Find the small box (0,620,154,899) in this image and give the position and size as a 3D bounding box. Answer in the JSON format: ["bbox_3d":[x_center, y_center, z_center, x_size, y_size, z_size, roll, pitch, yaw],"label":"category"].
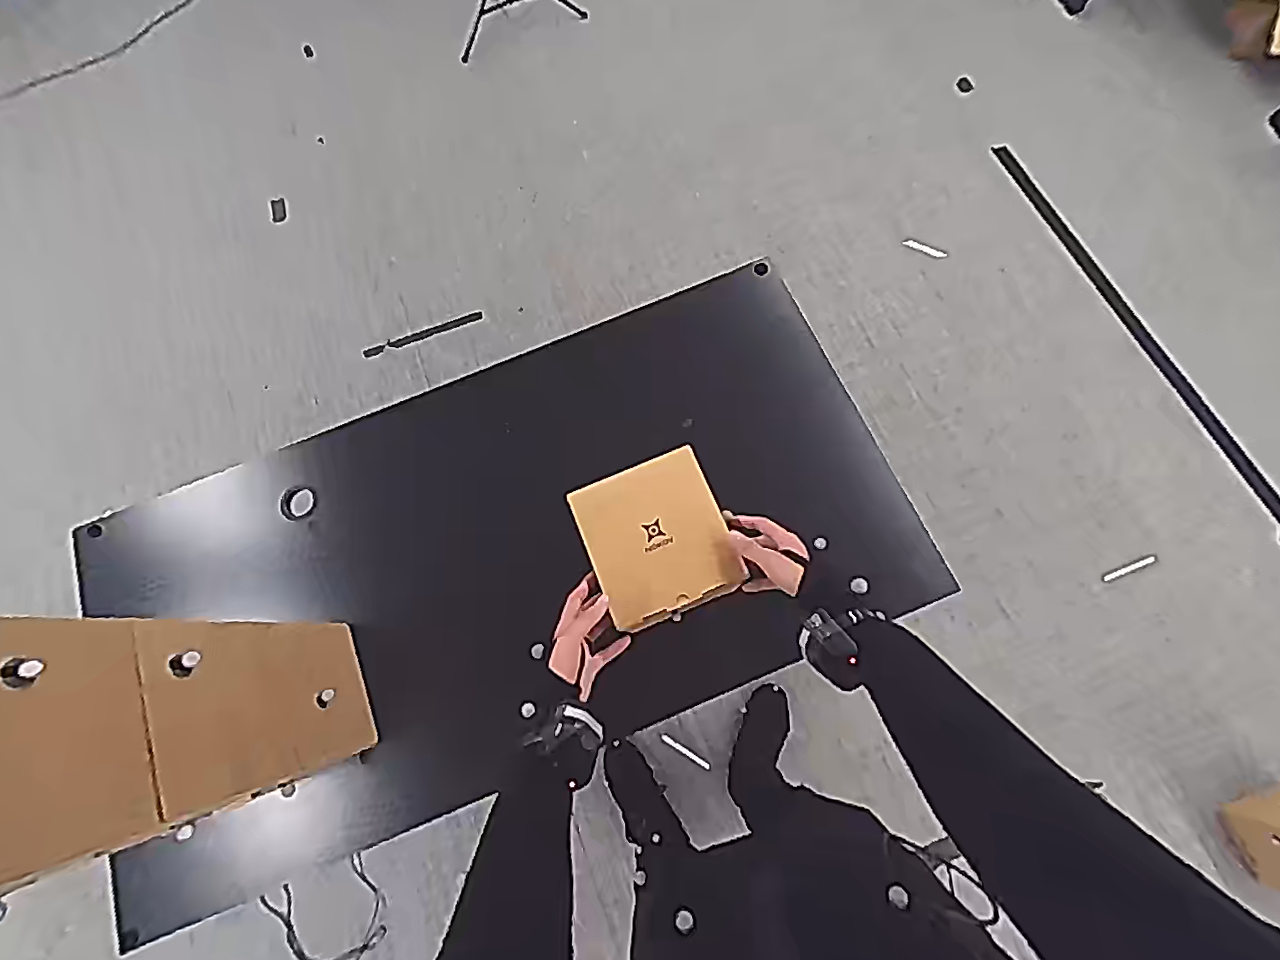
[{"bbox_3d":[-0.487,0.204,0.364,0.168,0.176,0.179,-24,75,-2],"label":"small box"}]

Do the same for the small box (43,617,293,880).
[{"bbox_3d":[-0.478,0.248,0.520,0.168,0.176,0.179,-24,74,-3],"label":"small box"}]

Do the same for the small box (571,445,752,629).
[{"bbox_3d":[0.025,0.084,0.707,0.168,0.176,0.179,-23,74,-3],"label":"small box"}]

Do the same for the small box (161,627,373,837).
[{"bbox_3d":[-0.468,0.295,0.678,0.168,0.176,0.179,-24,75,-4],"label":"small box"}]
